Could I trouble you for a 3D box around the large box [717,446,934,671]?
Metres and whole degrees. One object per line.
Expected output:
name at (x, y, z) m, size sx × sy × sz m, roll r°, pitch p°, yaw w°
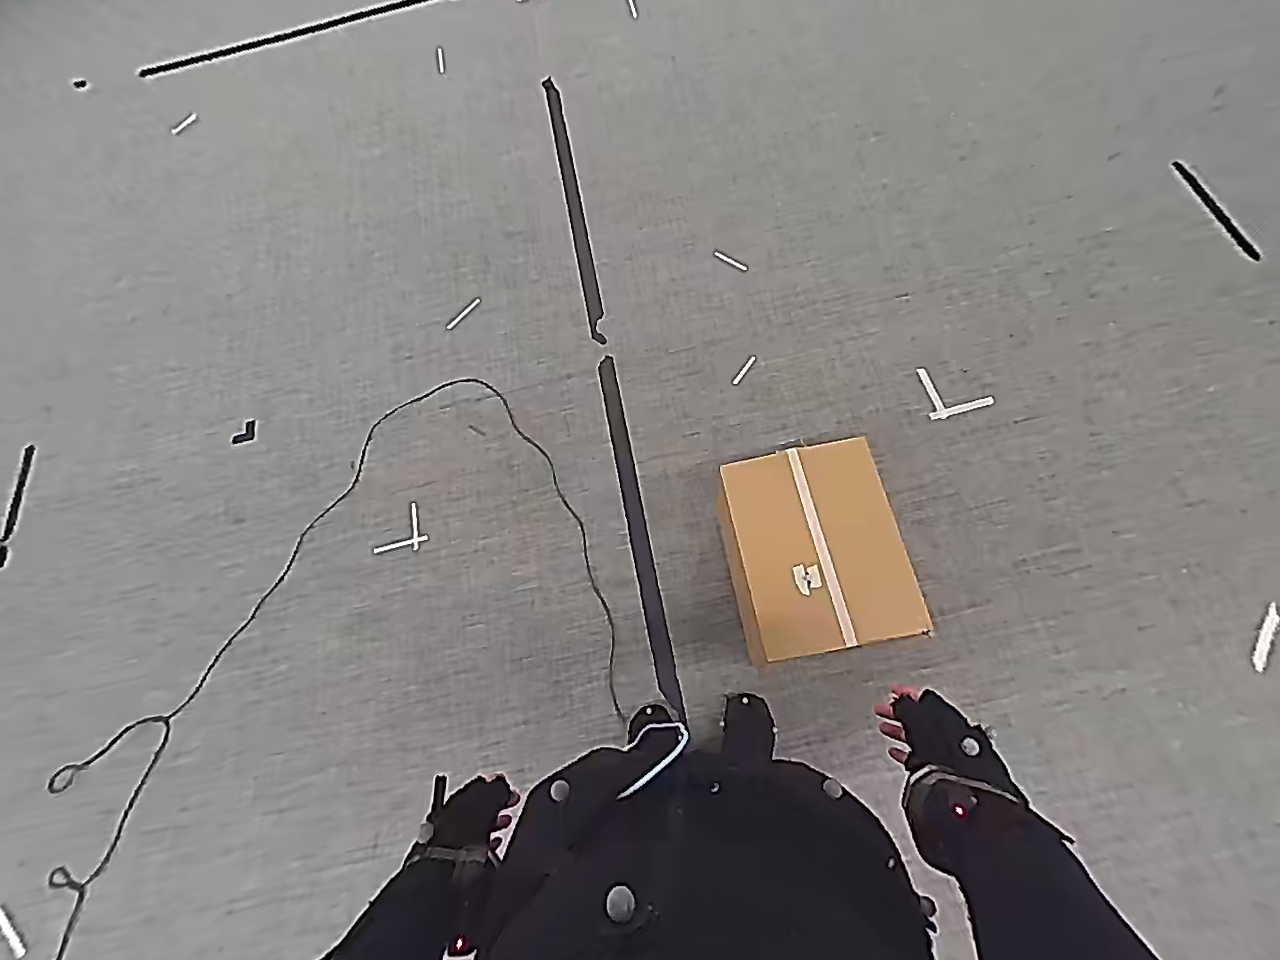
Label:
large box at (0.371, 0.189, 1.210) m, size 0.320 × 0.320 × 0.408 m, roll -12°, pitch 69°, yaw 3°
